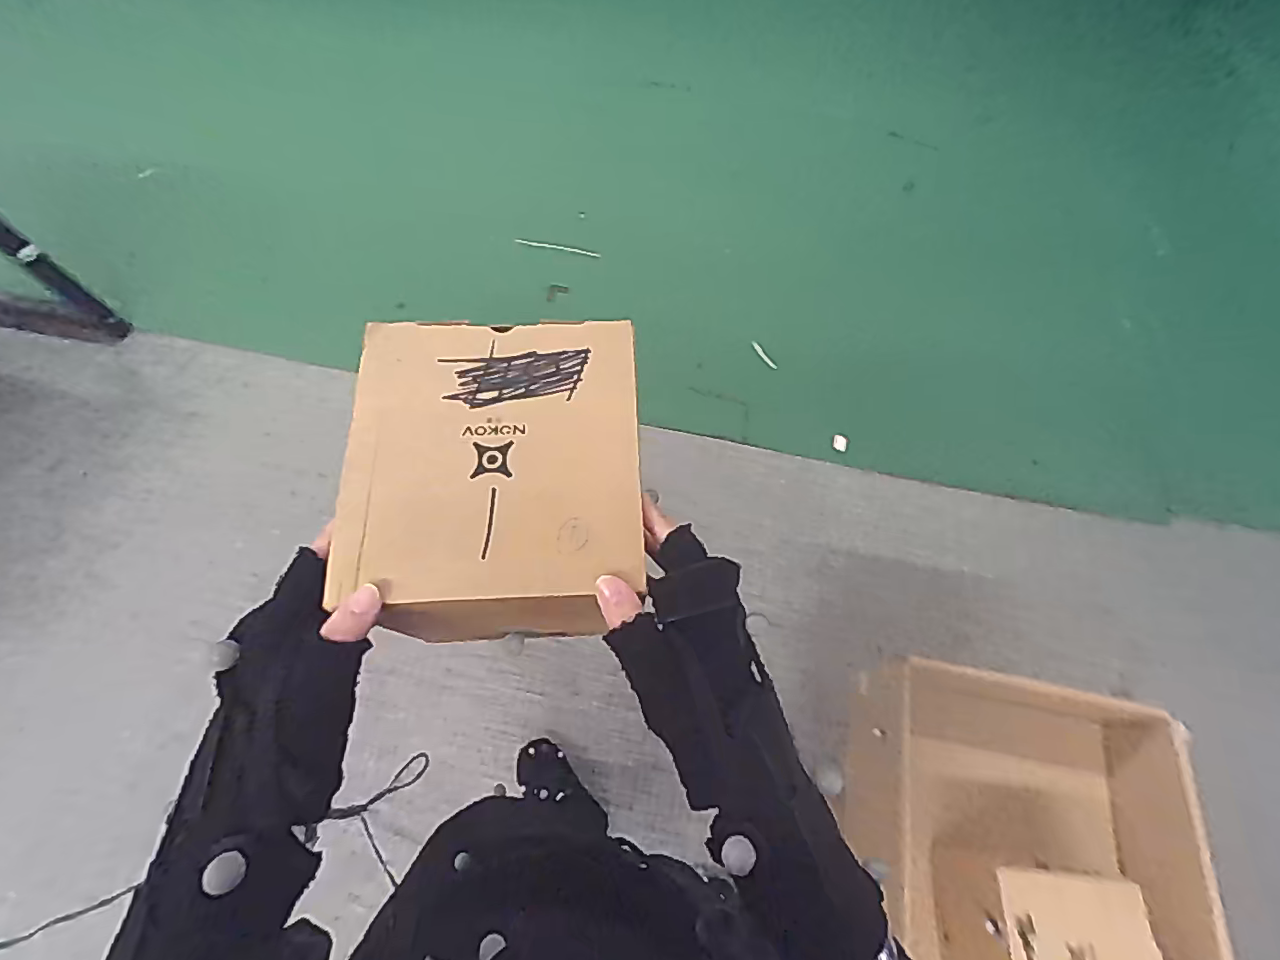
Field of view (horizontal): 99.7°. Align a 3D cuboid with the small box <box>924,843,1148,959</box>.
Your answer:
[{"bbox_3d":[0.508,0.589,0.706,0.179,0.176,0.168,6,63,0],"label":"small box"}]

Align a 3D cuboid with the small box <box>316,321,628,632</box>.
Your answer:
[{"bbox_3d":[-0.096,0.008,0.391,0.168,0.176,0.179,-2,69,-3],"label":"small box"}]
